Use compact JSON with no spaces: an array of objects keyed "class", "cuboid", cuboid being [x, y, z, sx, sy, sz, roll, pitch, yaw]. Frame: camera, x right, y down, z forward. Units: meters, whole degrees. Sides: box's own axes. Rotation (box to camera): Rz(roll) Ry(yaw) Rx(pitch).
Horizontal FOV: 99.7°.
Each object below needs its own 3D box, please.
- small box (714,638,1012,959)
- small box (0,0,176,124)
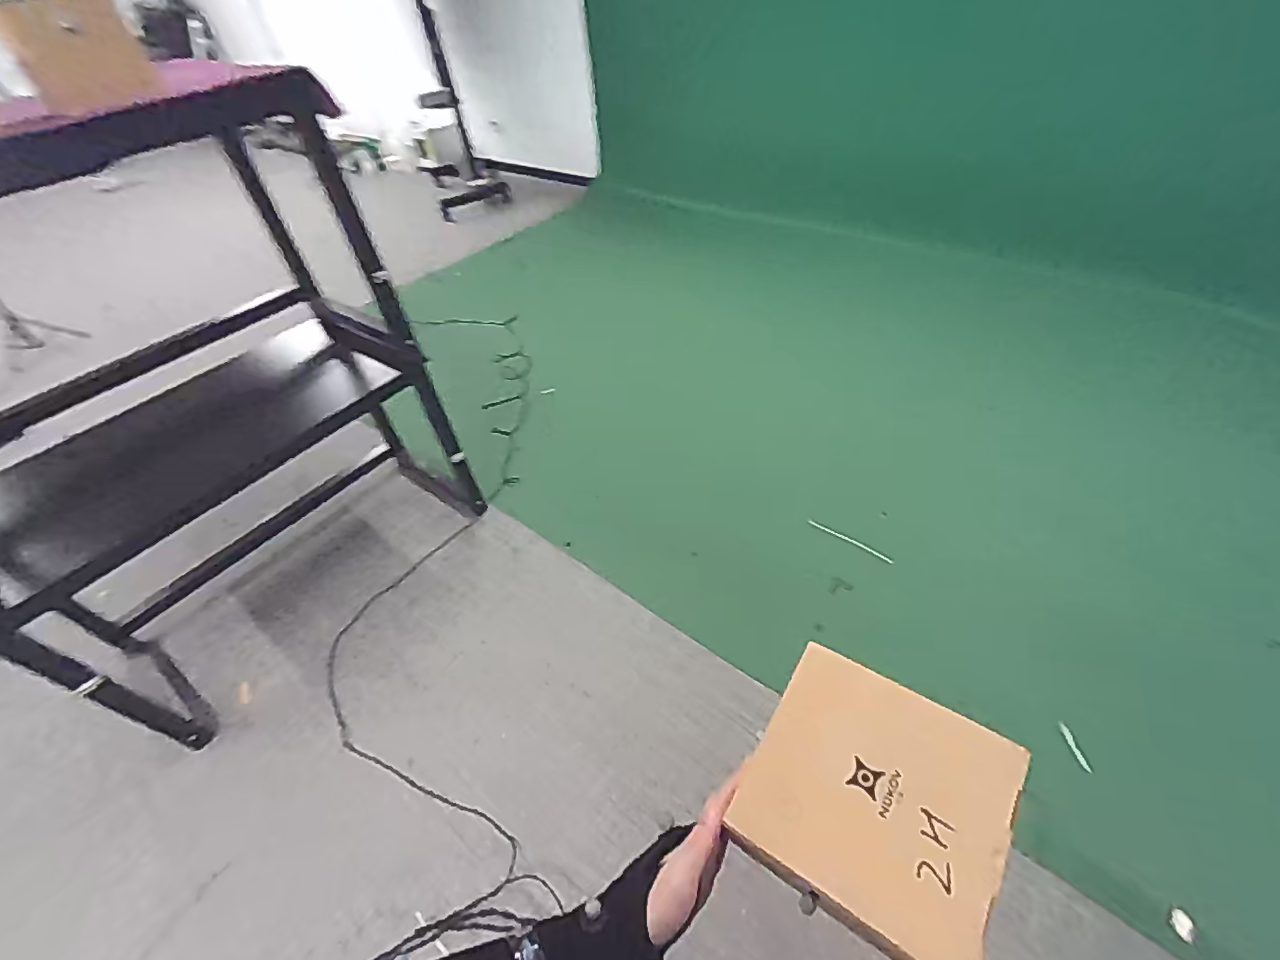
[{"class":"small box","cuboid":[0.182,0.278,0.476,0.179,0.176,0.168,23,60,26]},{"class":"small box","cuboid":[-1.040,-0.790,1.014,0.168,0.176,0.179,29,55,28]}]
